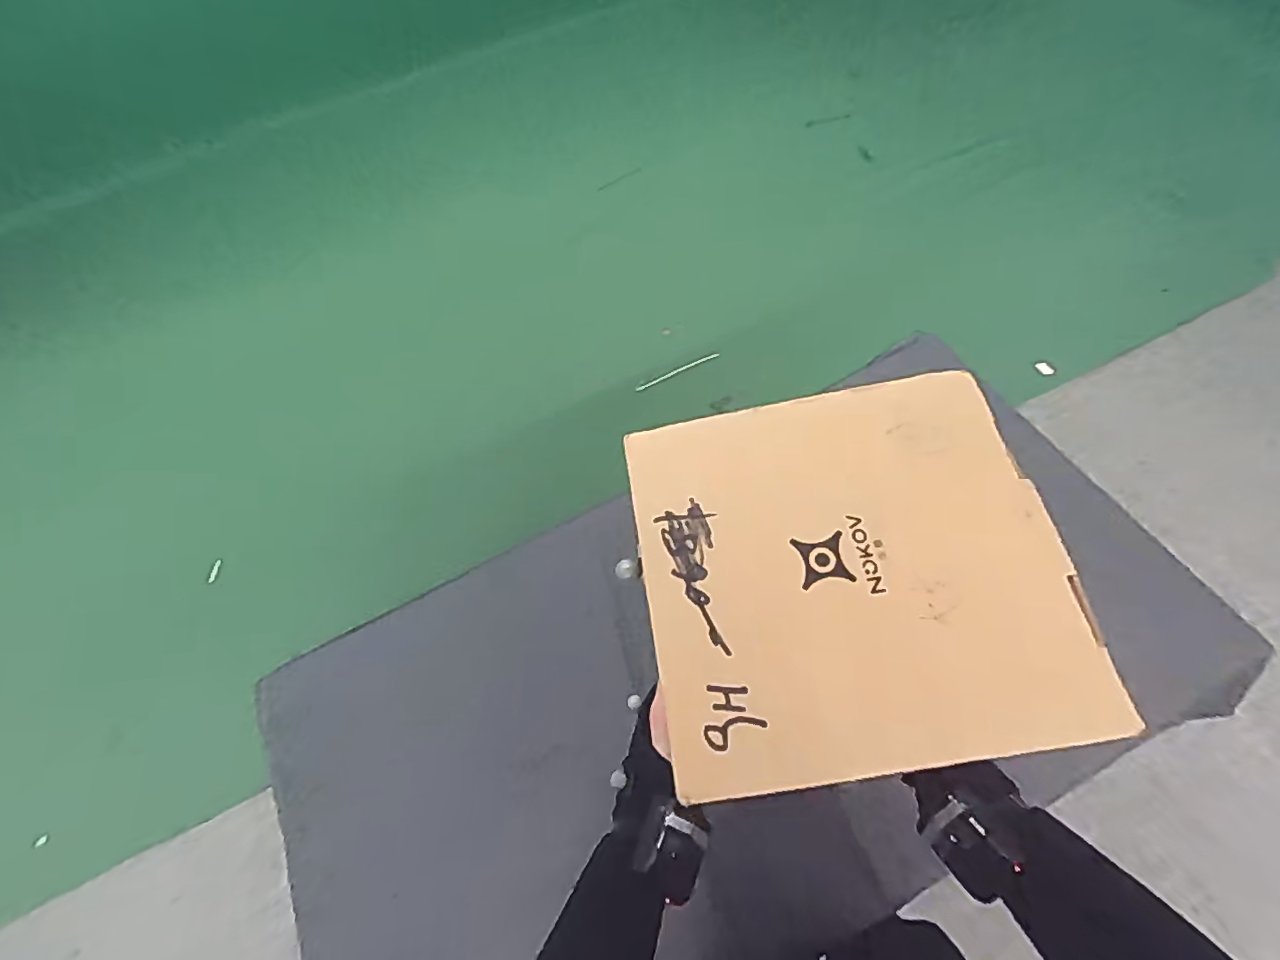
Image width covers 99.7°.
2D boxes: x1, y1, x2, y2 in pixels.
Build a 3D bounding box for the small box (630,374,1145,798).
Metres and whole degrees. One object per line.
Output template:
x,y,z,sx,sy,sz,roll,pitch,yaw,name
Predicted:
0.096,0.067,0.302,0.179,0.176,0.168,-9,63,2,small box
